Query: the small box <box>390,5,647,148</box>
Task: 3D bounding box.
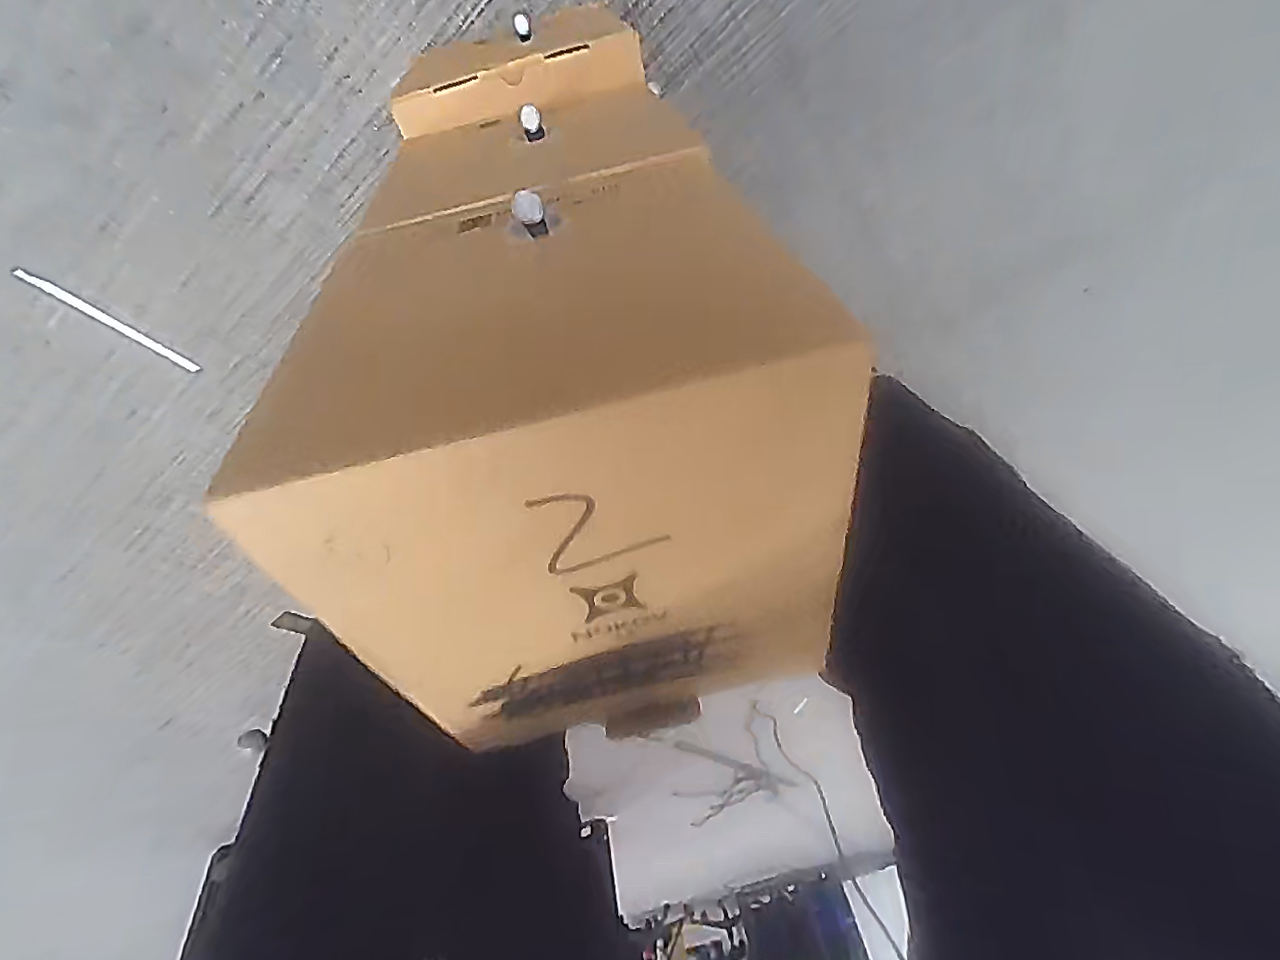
[{"bbox_3d":[-0.078,-0.262,0.455,0.168,0.176,0.179,-16,136,1],"label":"small box"}]
